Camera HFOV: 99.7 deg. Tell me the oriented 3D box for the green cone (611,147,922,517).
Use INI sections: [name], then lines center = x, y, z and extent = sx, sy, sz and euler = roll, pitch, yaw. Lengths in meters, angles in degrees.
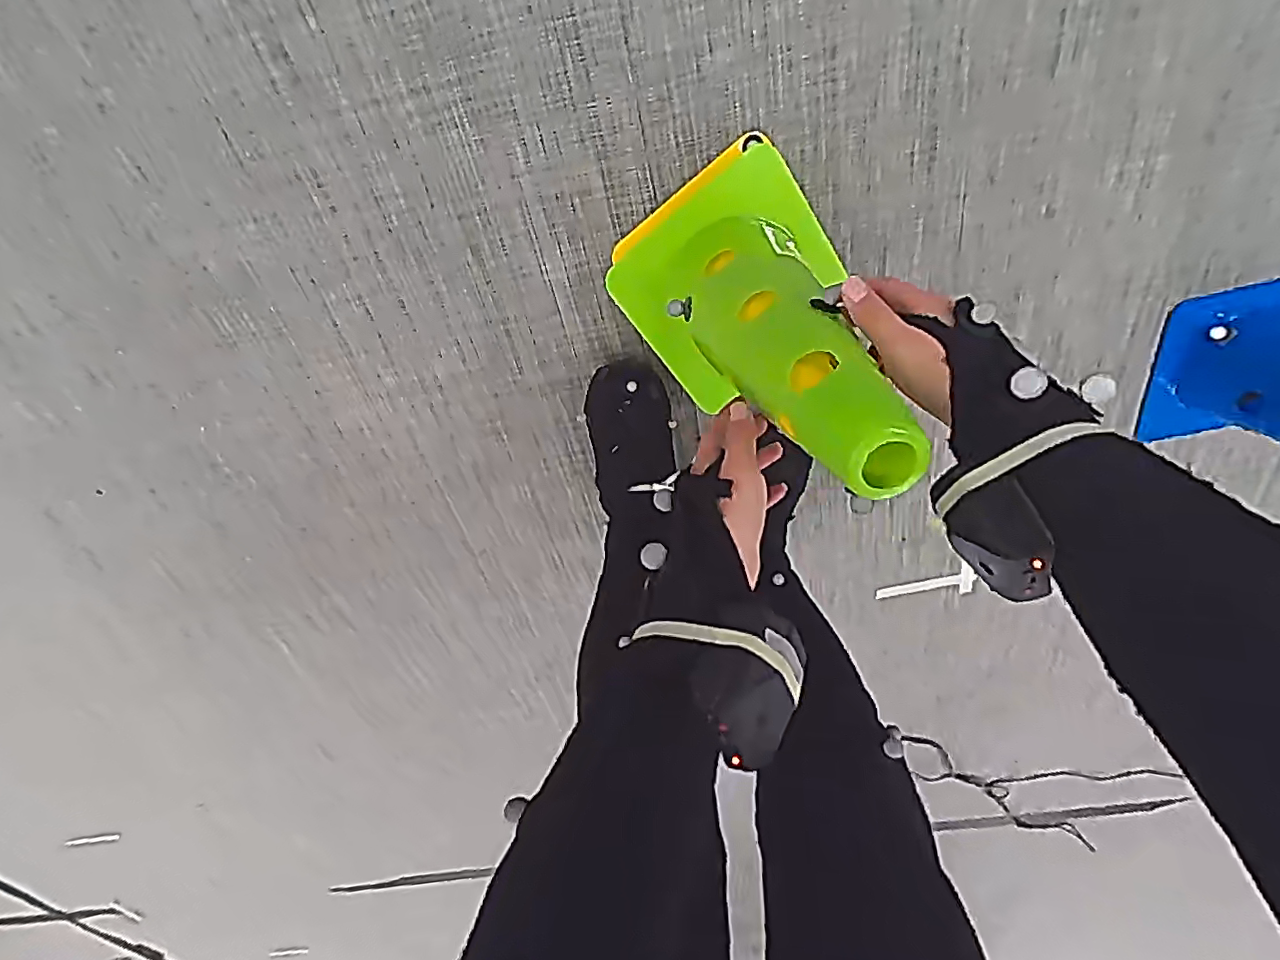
[green cone]
center = 0.106, -0.096, 0.397
extent = 0.202, 0.368, 0.200
euler = -35, 116, 18
